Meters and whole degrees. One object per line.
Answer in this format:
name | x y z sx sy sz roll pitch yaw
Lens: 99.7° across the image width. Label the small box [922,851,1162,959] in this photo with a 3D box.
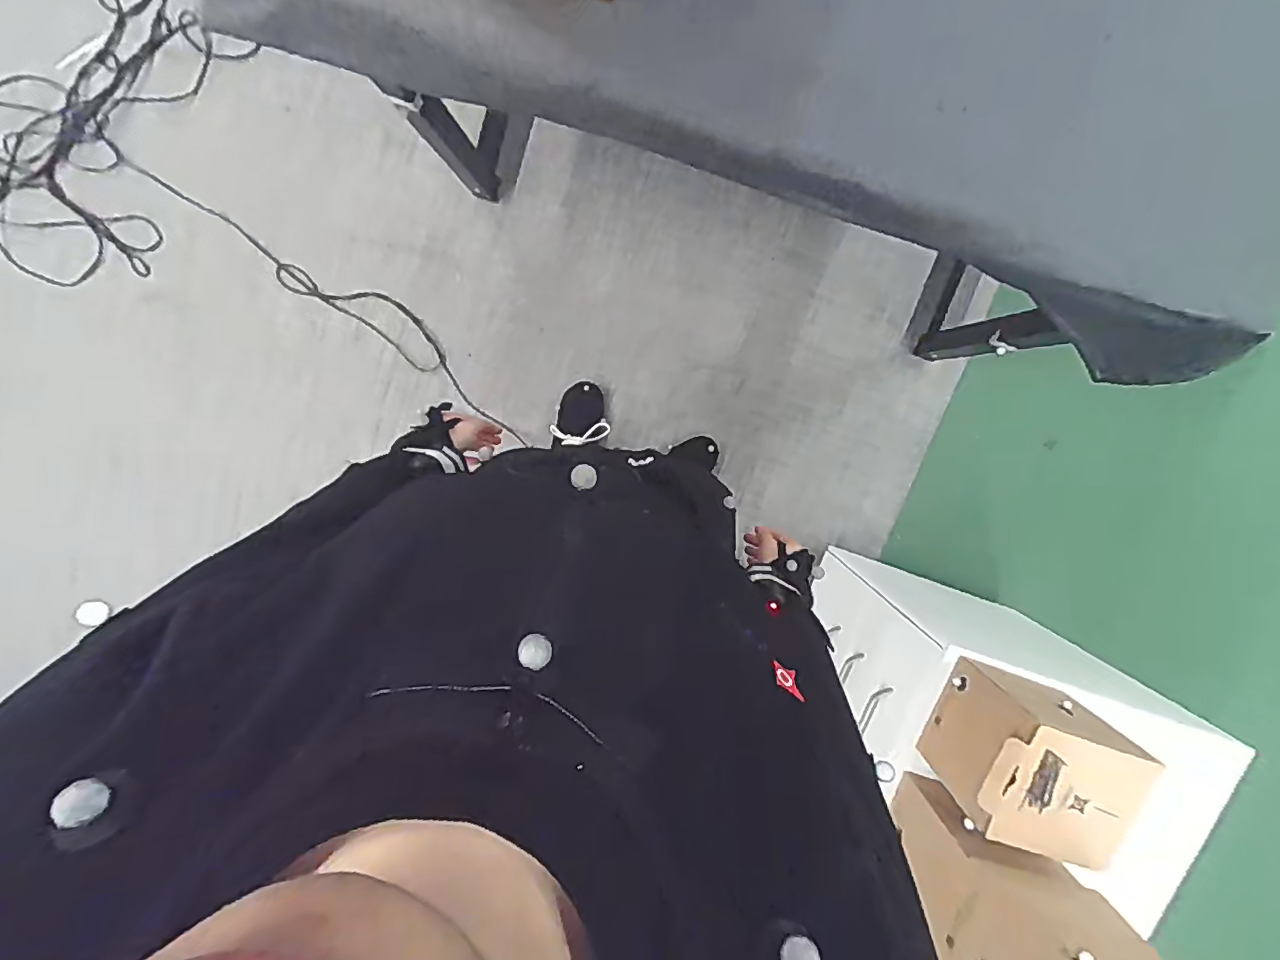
small box | 0.465 0.573 0.621 0.179 0.176 0.168 15 99 -3
